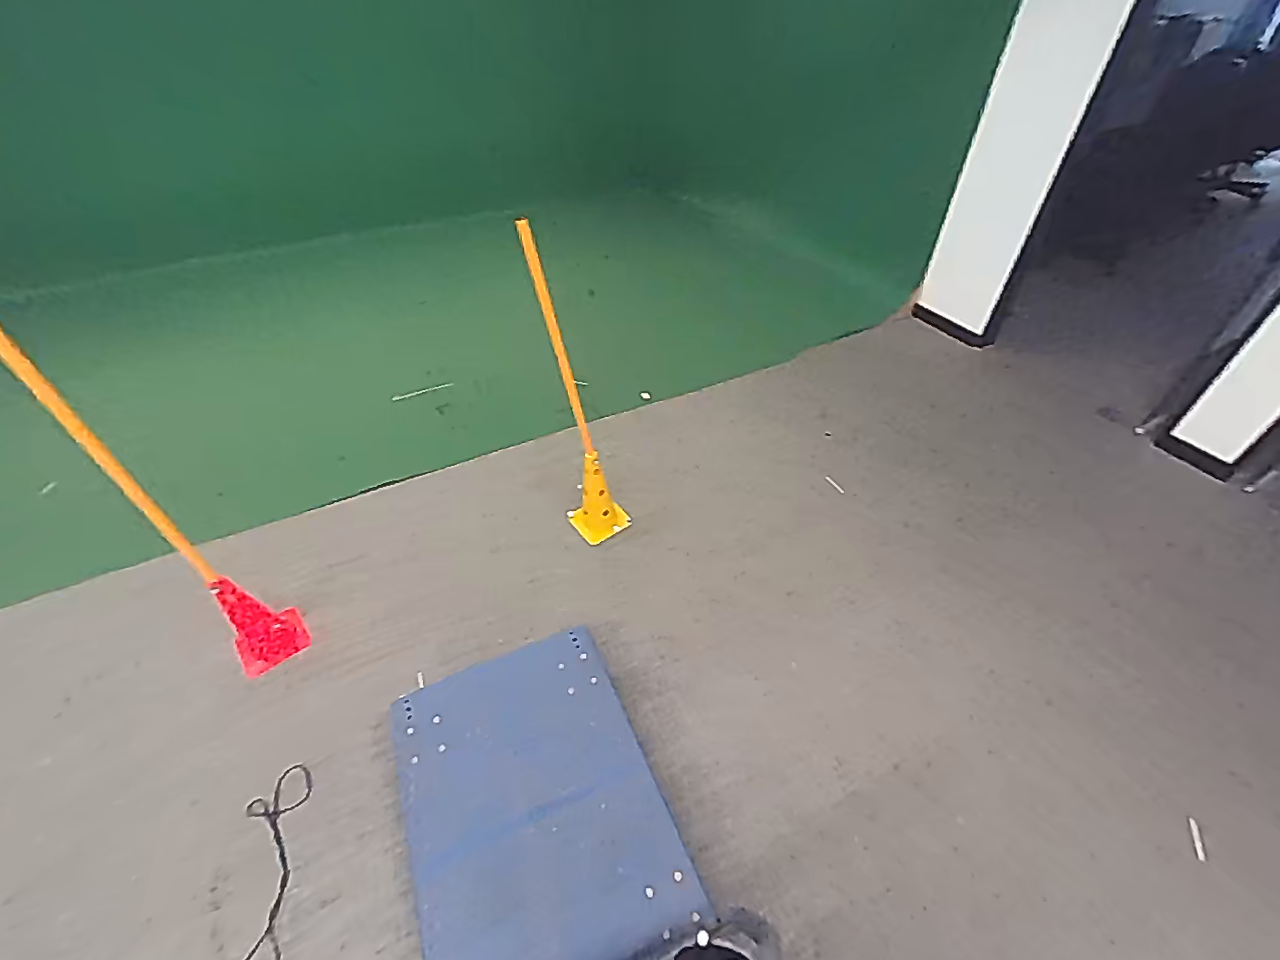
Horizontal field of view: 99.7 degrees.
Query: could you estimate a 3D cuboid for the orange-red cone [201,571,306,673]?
[{"bbox_3d":[-1.239,0.404,1.678,0.199,0.360,0.198,-33,52,-26],"label":"orange-red cone"}]
